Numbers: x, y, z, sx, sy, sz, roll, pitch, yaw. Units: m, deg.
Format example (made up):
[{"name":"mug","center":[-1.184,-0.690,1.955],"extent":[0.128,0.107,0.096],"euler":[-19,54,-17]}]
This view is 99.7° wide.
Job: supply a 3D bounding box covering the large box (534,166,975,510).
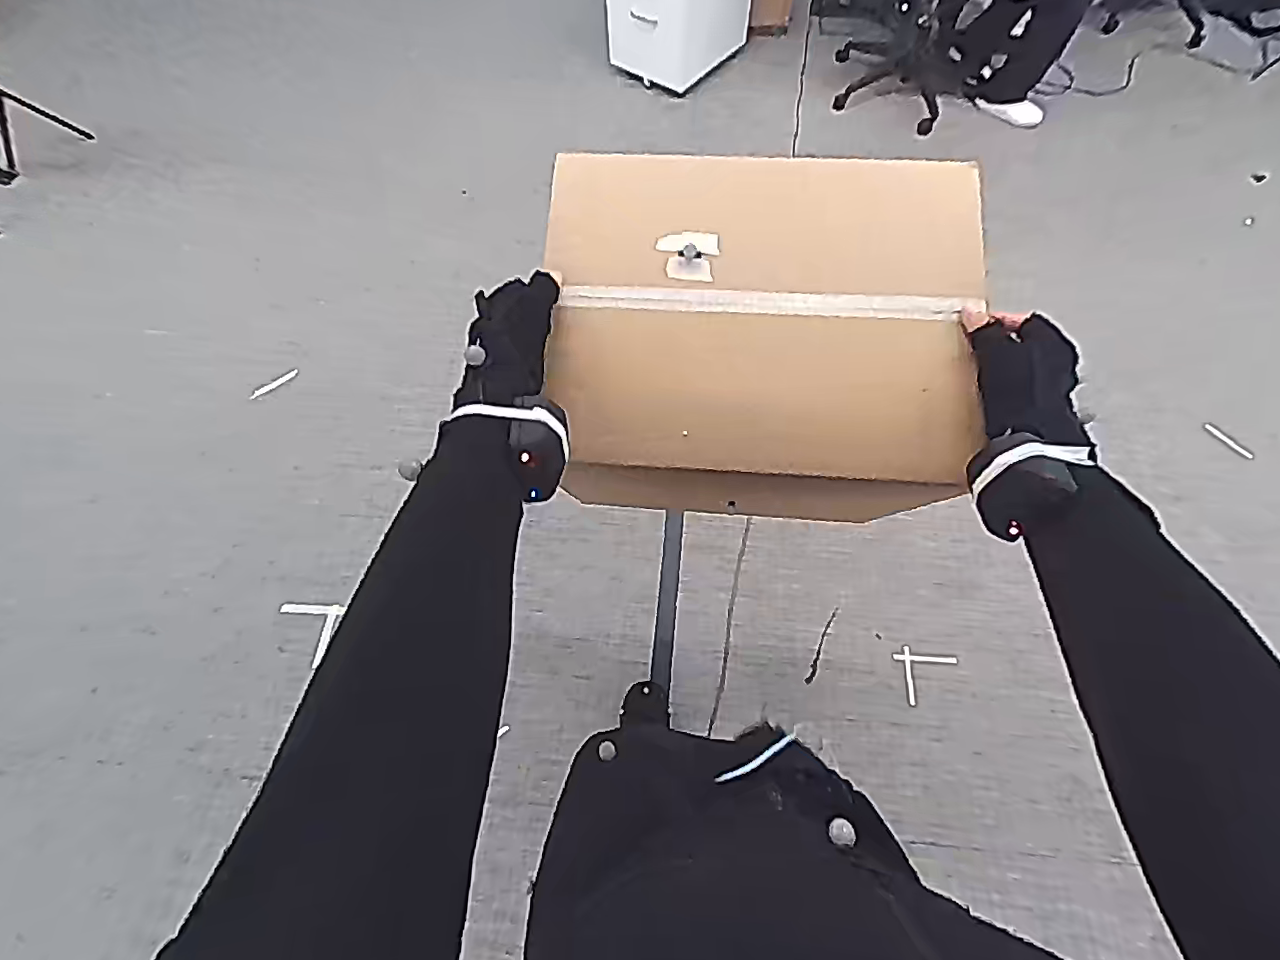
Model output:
[{"name":"large box","center":[0.121,-0.138,0.661],"extent":[0.408,0.320,0.320],"euler":[4,79,5]}]
